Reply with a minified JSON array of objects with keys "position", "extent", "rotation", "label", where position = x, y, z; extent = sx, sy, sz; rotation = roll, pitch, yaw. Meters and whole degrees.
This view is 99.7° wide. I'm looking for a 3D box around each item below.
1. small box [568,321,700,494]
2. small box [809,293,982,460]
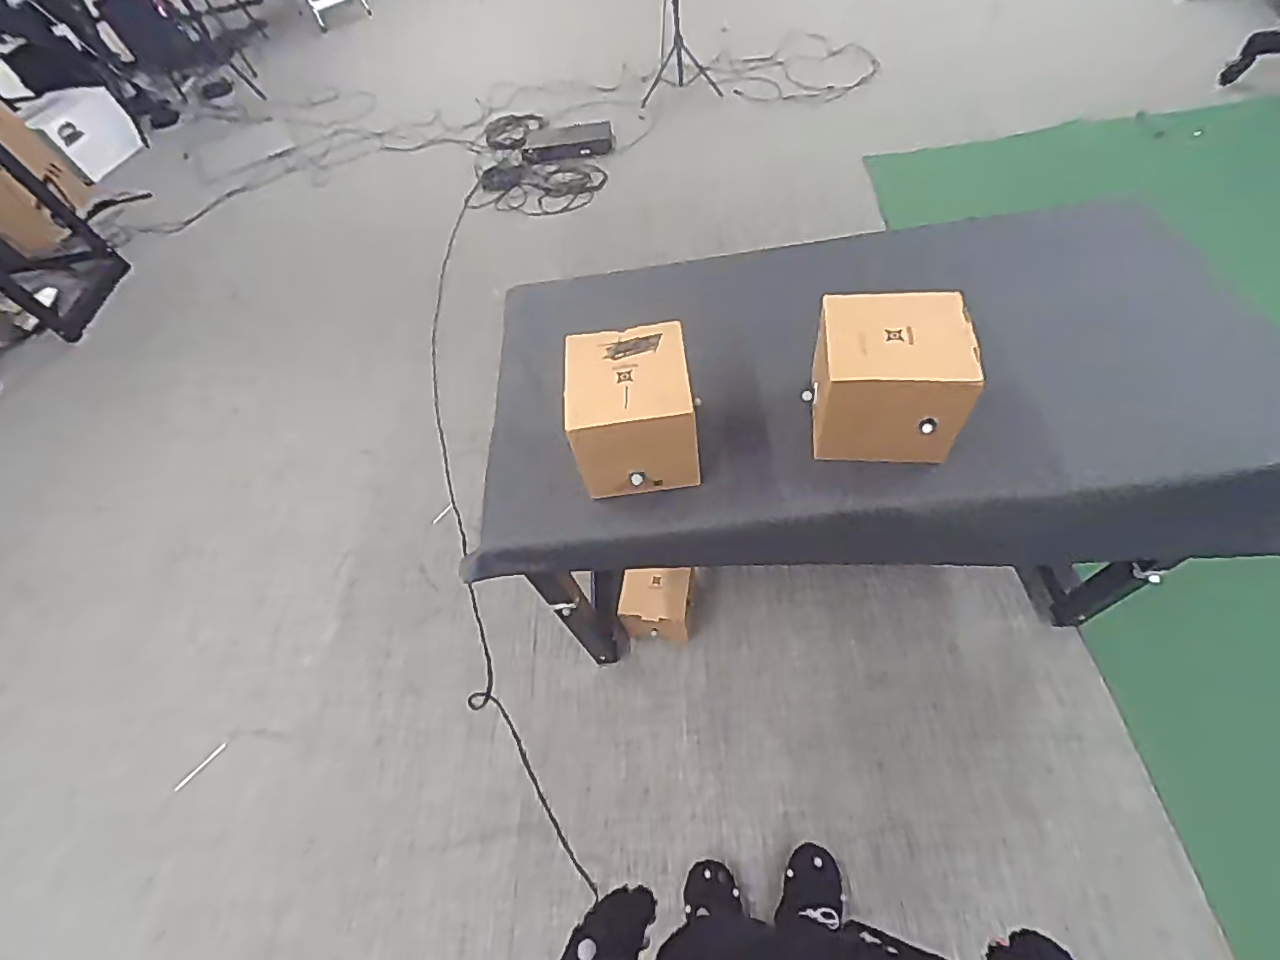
[{"position":[-0.005,-0.101,0.788],"extent":[0.168,0.176,0.179],"rotation":[-7,56,4],"label":"small box"},{"position":[0.342,-0.140,0.762],"extent":[0.179,0.176,0.168],"rotation":[1,56,11],"label":"small box"}]
